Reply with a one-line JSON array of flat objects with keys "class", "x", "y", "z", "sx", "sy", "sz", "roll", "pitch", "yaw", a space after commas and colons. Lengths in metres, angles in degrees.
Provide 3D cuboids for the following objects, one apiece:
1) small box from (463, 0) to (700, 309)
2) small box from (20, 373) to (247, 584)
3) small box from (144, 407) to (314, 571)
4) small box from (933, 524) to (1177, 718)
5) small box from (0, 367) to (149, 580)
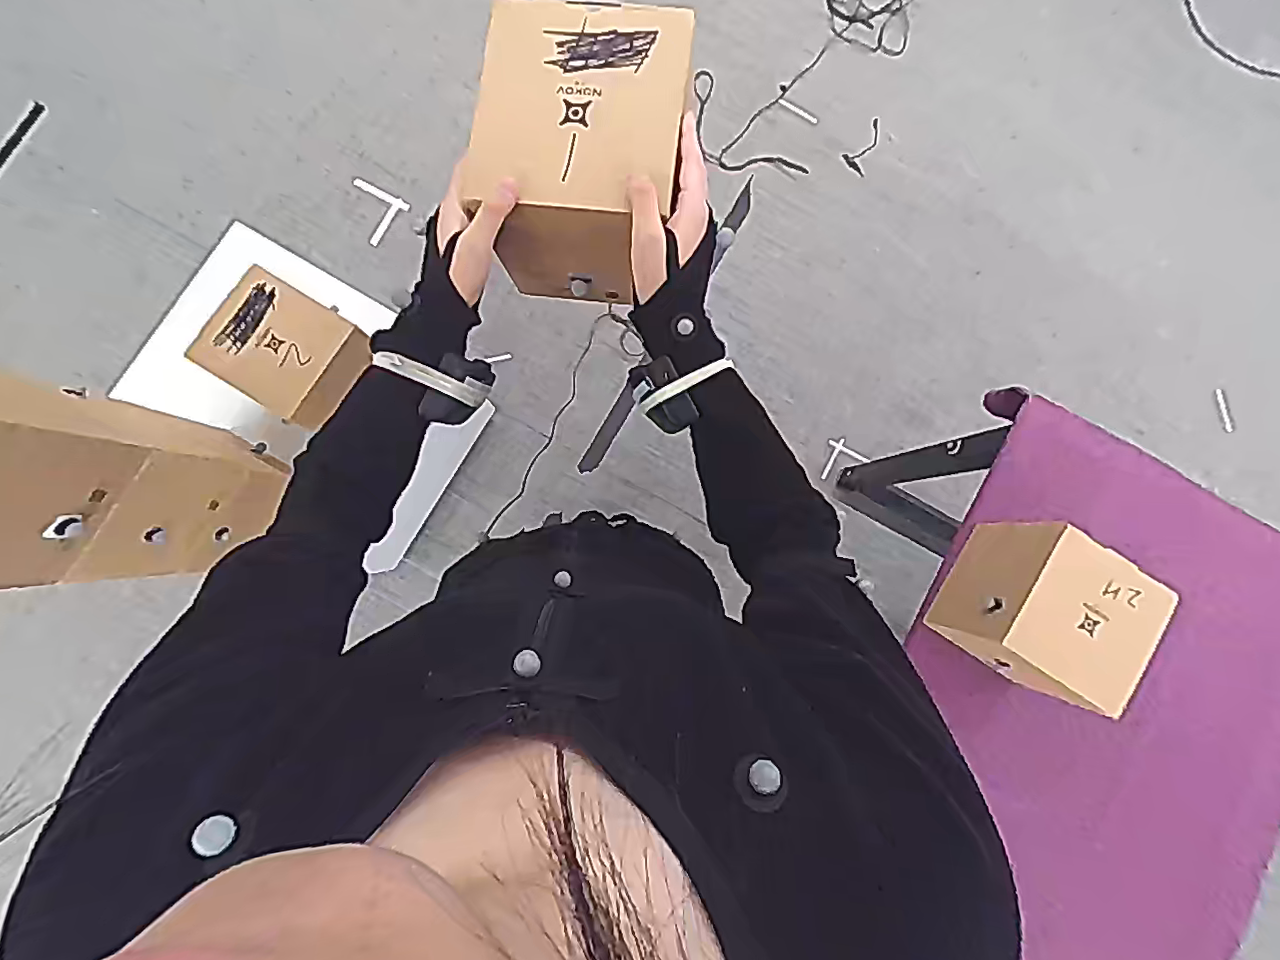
[{"class": "small box", "x": -0.041, "y": -0.283, "z": 0.499, "sx": 0.168, "sy": 0.176, "sz": 0.179, "roll": 7, "pitch": 85, "yaw": 5}, {"class": "small box", "x": -0.629, "y": 0.003, "z": 0.642, "sx": 0.179, "sy": 0.176, "sz": 0.168, "roll": 29, "pitch": 83, "yaw": 0}, {"class": "small box", "x": -0.641, "y": 0.020, "z": 0.803, "sx": 0.179, "sy": 0.176, "sz": 0.168, "roll": 31, "pitch": 84, "yaw": 1}, {"class": "small box", "x": 0.536, "y": 0.177, "z": 0.728, "sx": 0.168, "sy": 0.176, "sz": 0.179, "roll": 34, "pitch": 83, "yaw": 0}, {"class": "small box", "x": -0.619, "y": -0.015, "z": 0.481, "sx": 0.179, "sy": 0.176, "sz": 0.168, "roll": 29, "pitch": 84, "yaw": -1}]
